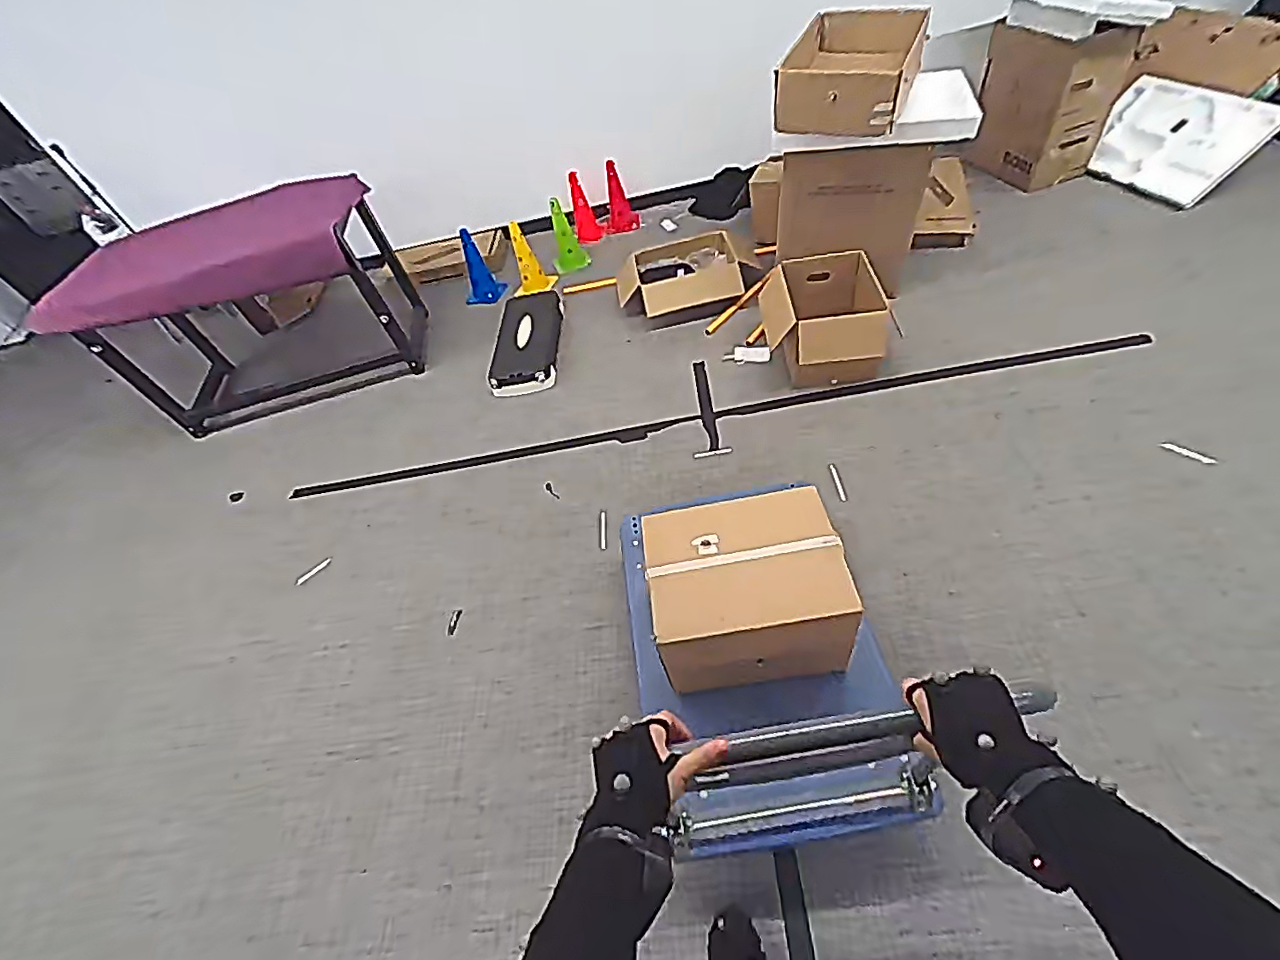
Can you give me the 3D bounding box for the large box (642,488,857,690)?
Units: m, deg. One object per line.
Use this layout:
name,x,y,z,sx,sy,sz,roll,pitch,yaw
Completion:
large box,0.243,0.264,1.266,0.408,0.320,0.320,-11,49,5
